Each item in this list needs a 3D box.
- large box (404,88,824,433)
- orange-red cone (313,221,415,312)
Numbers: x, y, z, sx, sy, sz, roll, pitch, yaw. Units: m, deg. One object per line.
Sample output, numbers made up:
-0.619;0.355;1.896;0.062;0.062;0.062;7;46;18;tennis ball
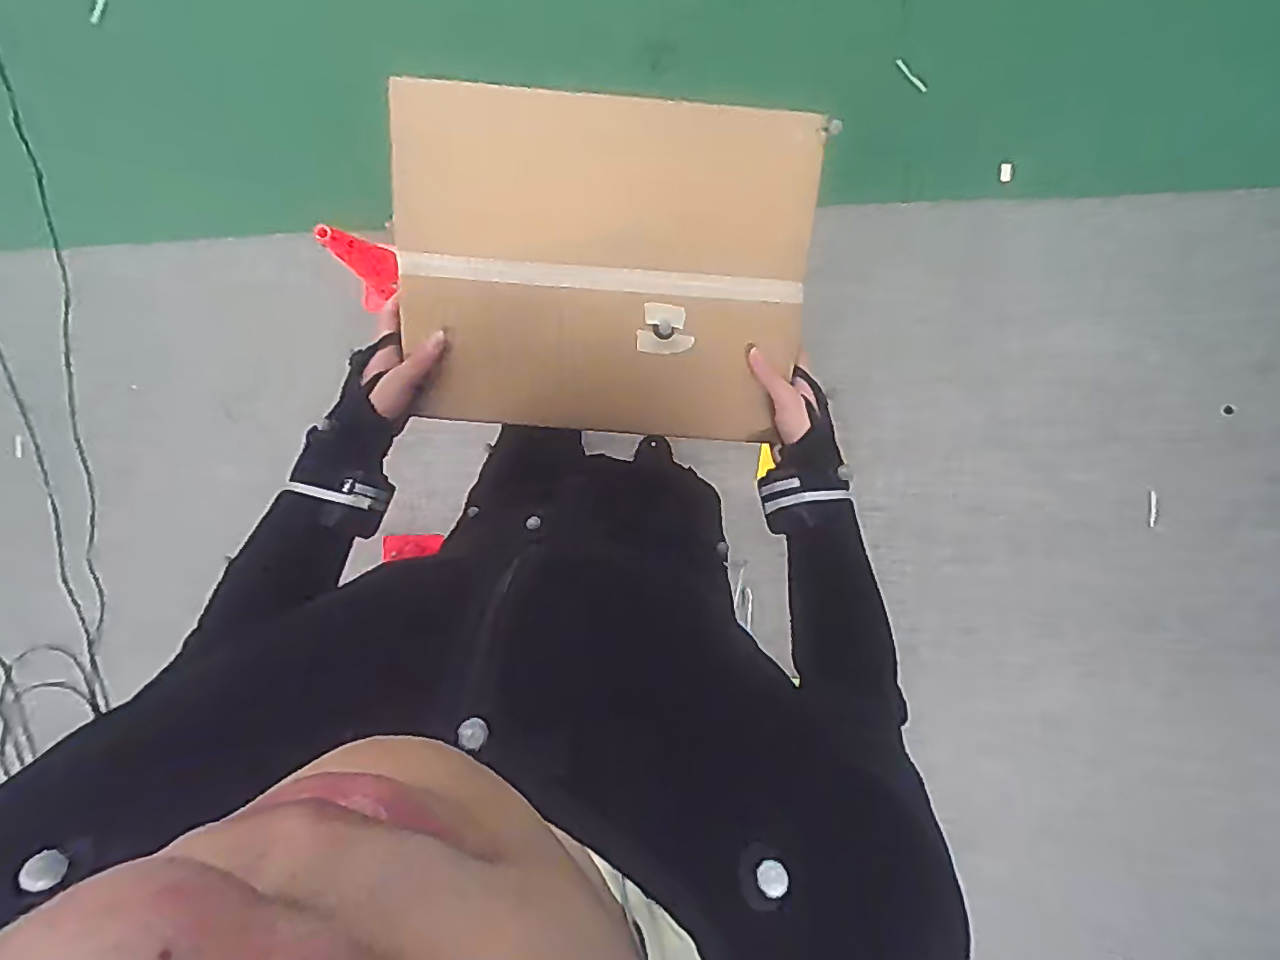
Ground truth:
-0.035;-0.250;0.691;0.408;0.320;0.320;4;108;-2;large box
-0.739;-0.597;1.438;0.199;0.360;0.198;6;94;4;orange-red cone
